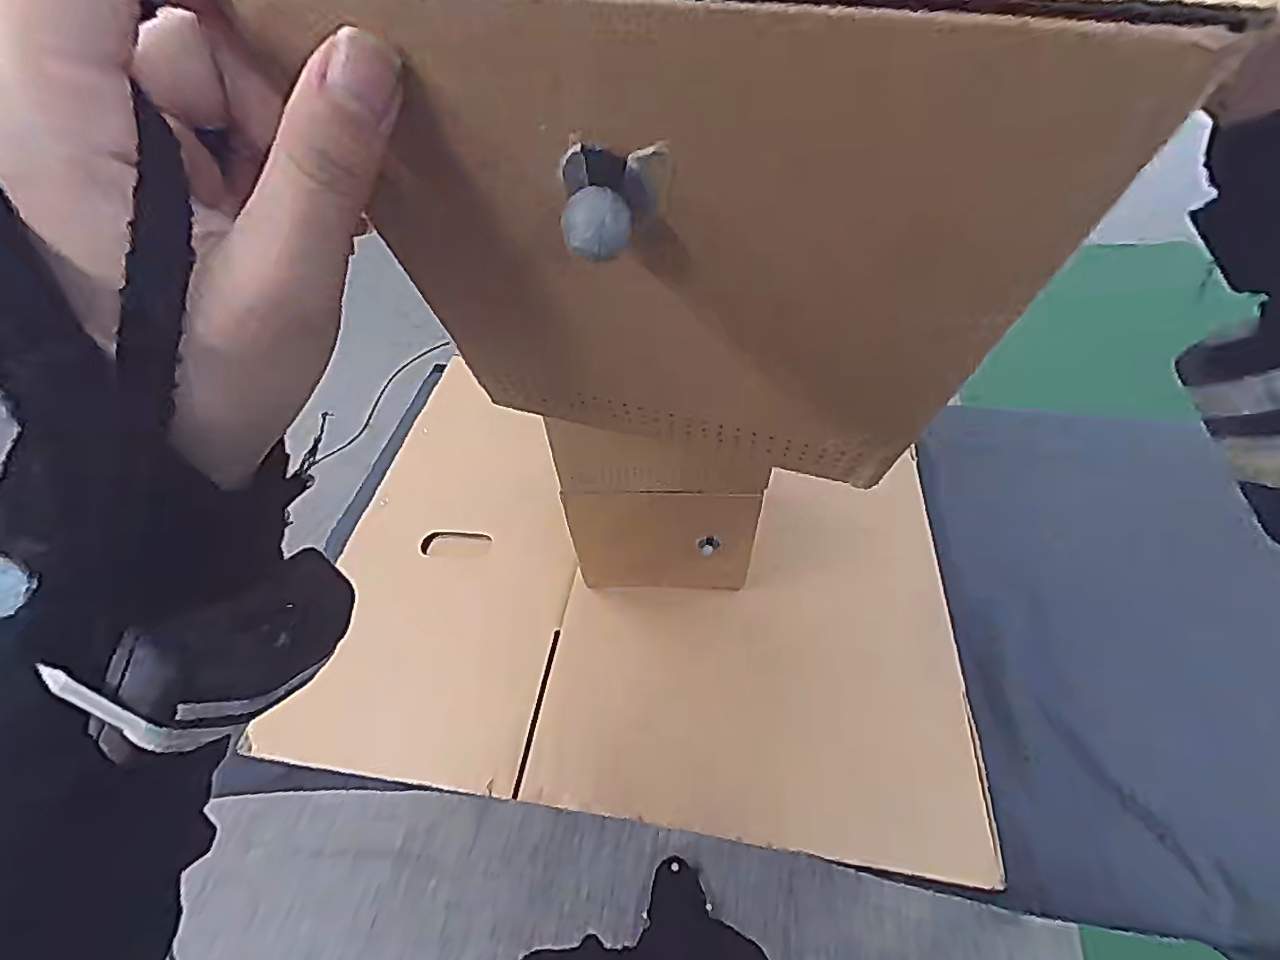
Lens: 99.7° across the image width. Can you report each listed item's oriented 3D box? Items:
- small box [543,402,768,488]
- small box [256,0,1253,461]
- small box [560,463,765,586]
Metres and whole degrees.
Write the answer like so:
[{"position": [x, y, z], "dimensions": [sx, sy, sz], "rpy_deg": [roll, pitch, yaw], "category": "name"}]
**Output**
[{"position": [0.019, -0.106, 0.439], "dimensions": [0.179, 0.176, 0.168], "rpy_deg": [-1, 50, 3], "category": "small box"}, {"position": [0.033, -0.122, 0.191], "dimensions": [0.179, 0.176, 0.168], "rpy_deg": [13, 70, 11], "category": "small box"}, {"position": [0.025, 0.000, 0.565], "dimensions": [0.179, 0.176, 0.168], "rpy_deg": [-1, 50, 4], "category": "small box"}]
